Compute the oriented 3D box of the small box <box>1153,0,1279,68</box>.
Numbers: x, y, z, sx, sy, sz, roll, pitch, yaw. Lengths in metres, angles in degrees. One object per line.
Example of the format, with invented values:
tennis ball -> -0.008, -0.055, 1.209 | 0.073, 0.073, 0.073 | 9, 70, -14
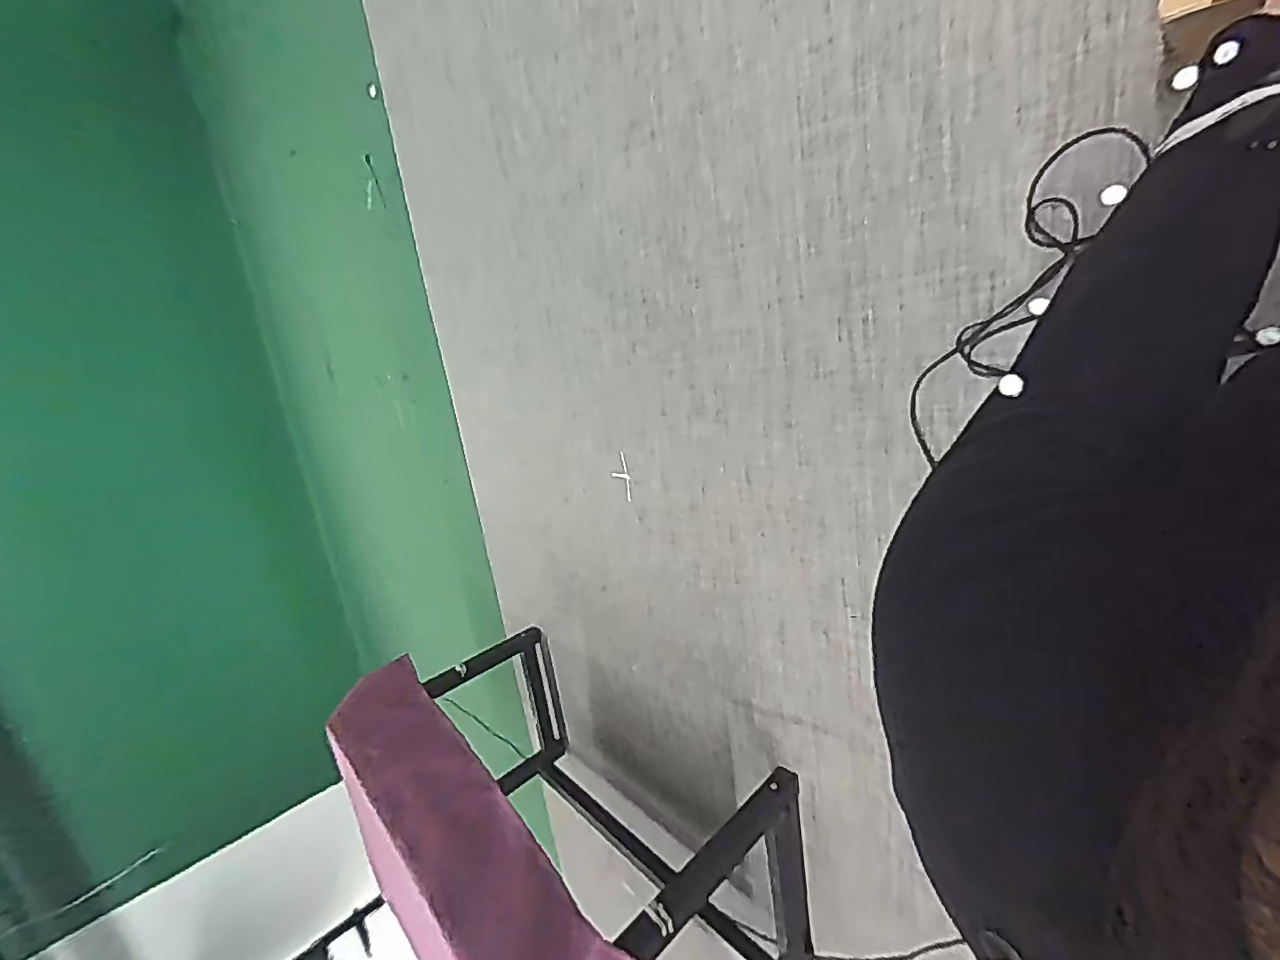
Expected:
small box -> 0.545, -0.476, 0.431 | 0.168, 0.176, 0.179 | 12, 113, 48
